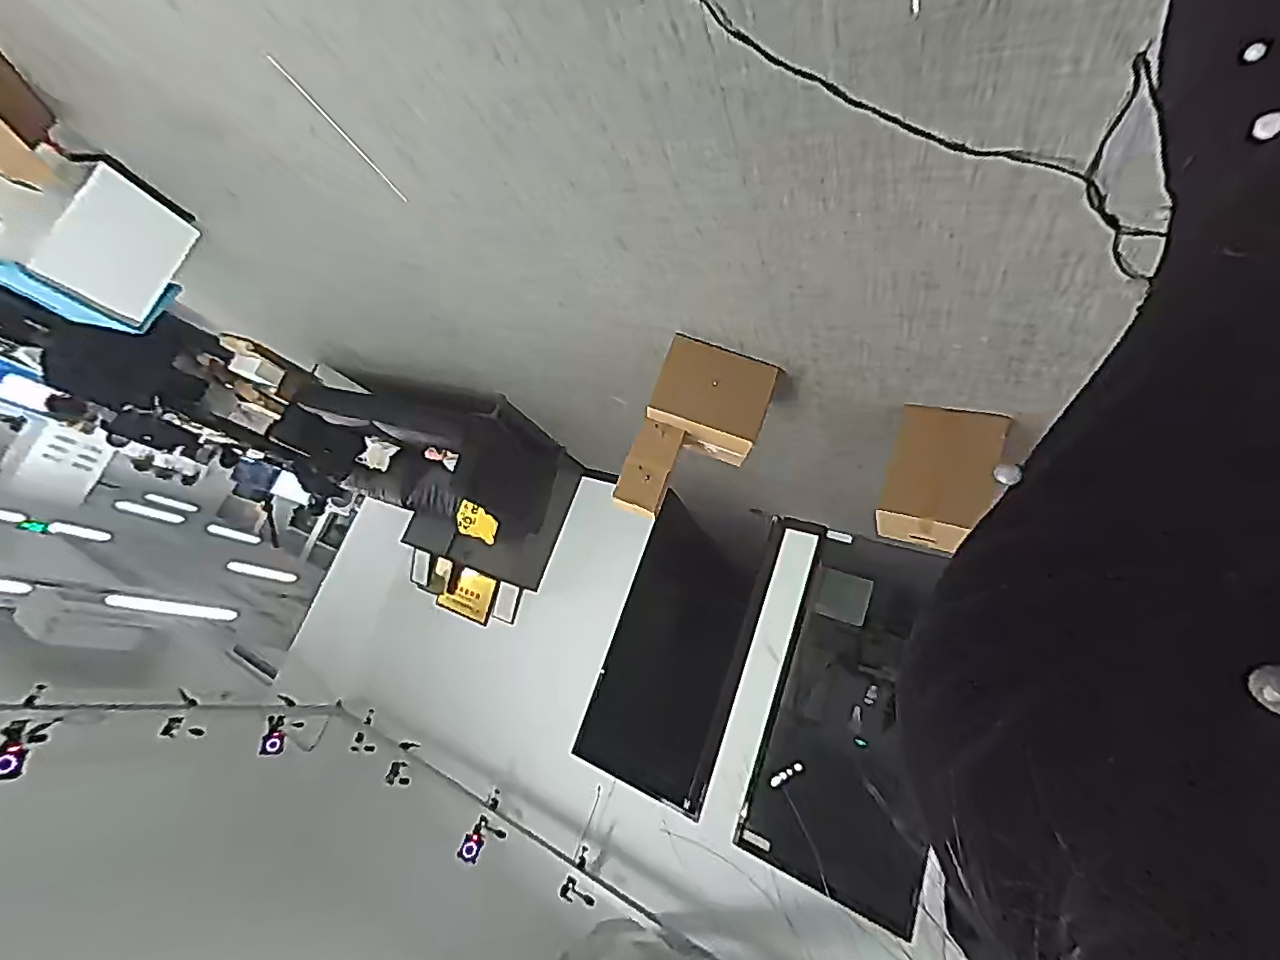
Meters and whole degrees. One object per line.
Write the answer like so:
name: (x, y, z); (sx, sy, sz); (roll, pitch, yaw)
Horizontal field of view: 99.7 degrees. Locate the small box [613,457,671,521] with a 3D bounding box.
small box: (0.014, 0.035, 2.022); (0.168, 0.176, 0.179); (19, 166, 9)
